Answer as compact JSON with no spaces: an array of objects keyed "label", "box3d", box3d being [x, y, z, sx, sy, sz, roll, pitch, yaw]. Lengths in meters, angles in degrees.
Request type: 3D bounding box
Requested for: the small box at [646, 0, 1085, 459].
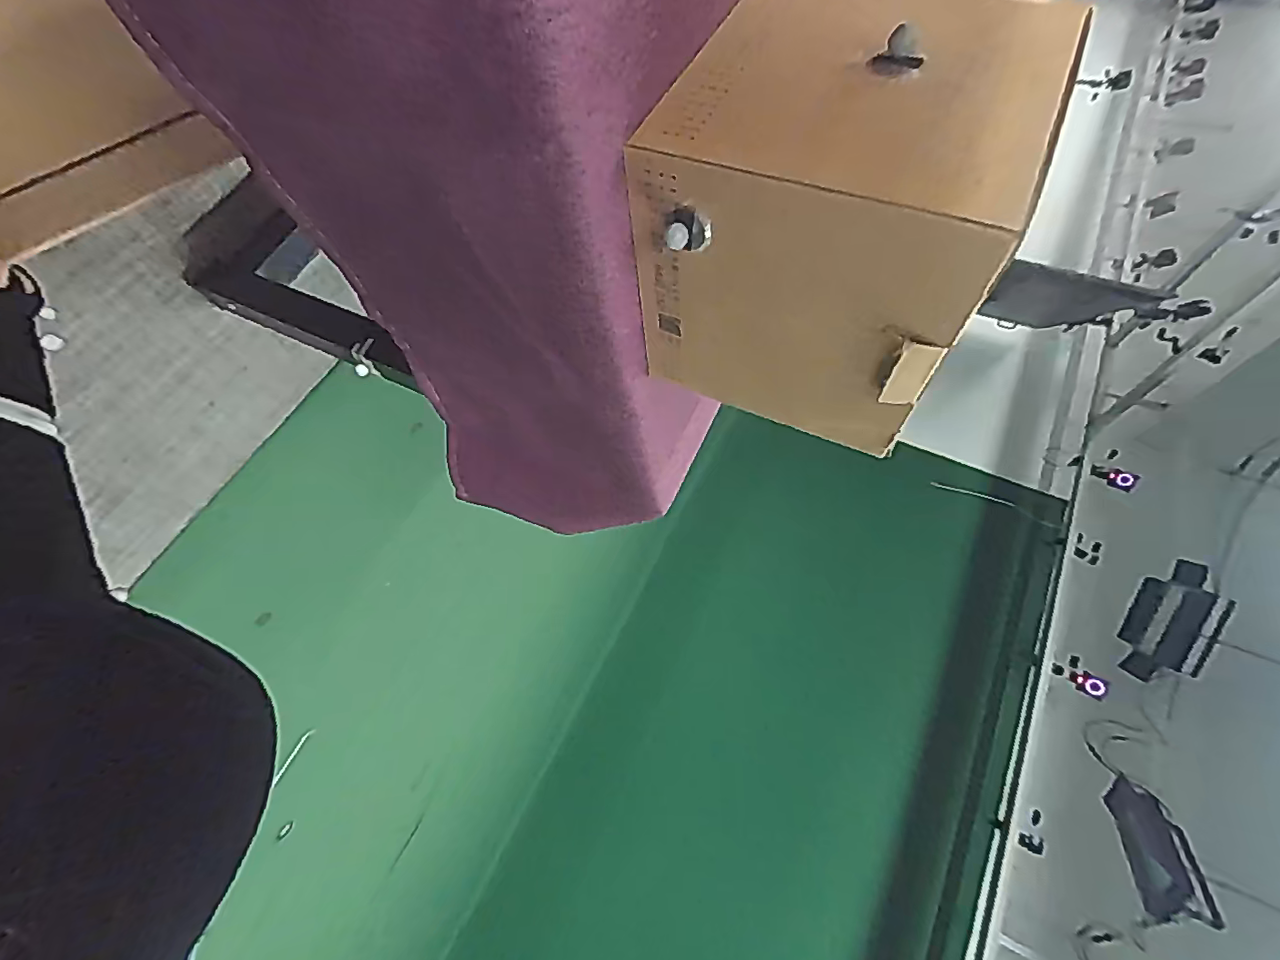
[{"label":"small box","box3d":[0.110,-0.147,0.322,0.179,0.176,0.168,-61,163,-22]}]
